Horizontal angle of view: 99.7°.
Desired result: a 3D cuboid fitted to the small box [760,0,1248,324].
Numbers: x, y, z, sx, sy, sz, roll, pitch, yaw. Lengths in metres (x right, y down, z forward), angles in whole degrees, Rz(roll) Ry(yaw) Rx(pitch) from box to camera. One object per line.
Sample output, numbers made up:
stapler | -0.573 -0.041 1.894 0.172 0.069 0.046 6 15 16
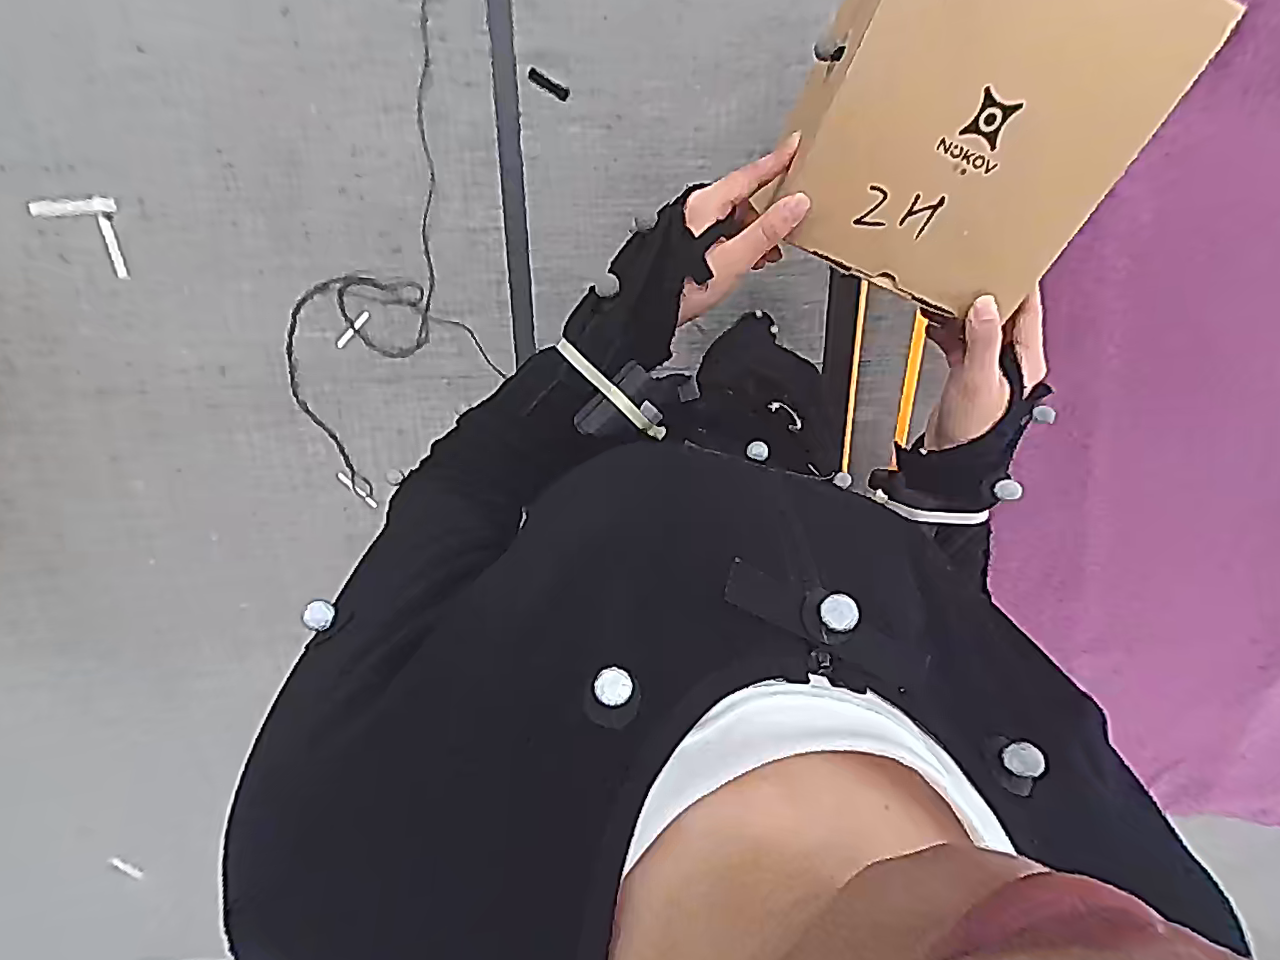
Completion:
small box | 0.189 -0.234 0.352 0.168 0.176 0.179 21 122 -5

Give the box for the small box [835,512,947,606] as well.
small box | 0.581 0.182 1.278 0.179 0.176 0.168 -2 108 -4
